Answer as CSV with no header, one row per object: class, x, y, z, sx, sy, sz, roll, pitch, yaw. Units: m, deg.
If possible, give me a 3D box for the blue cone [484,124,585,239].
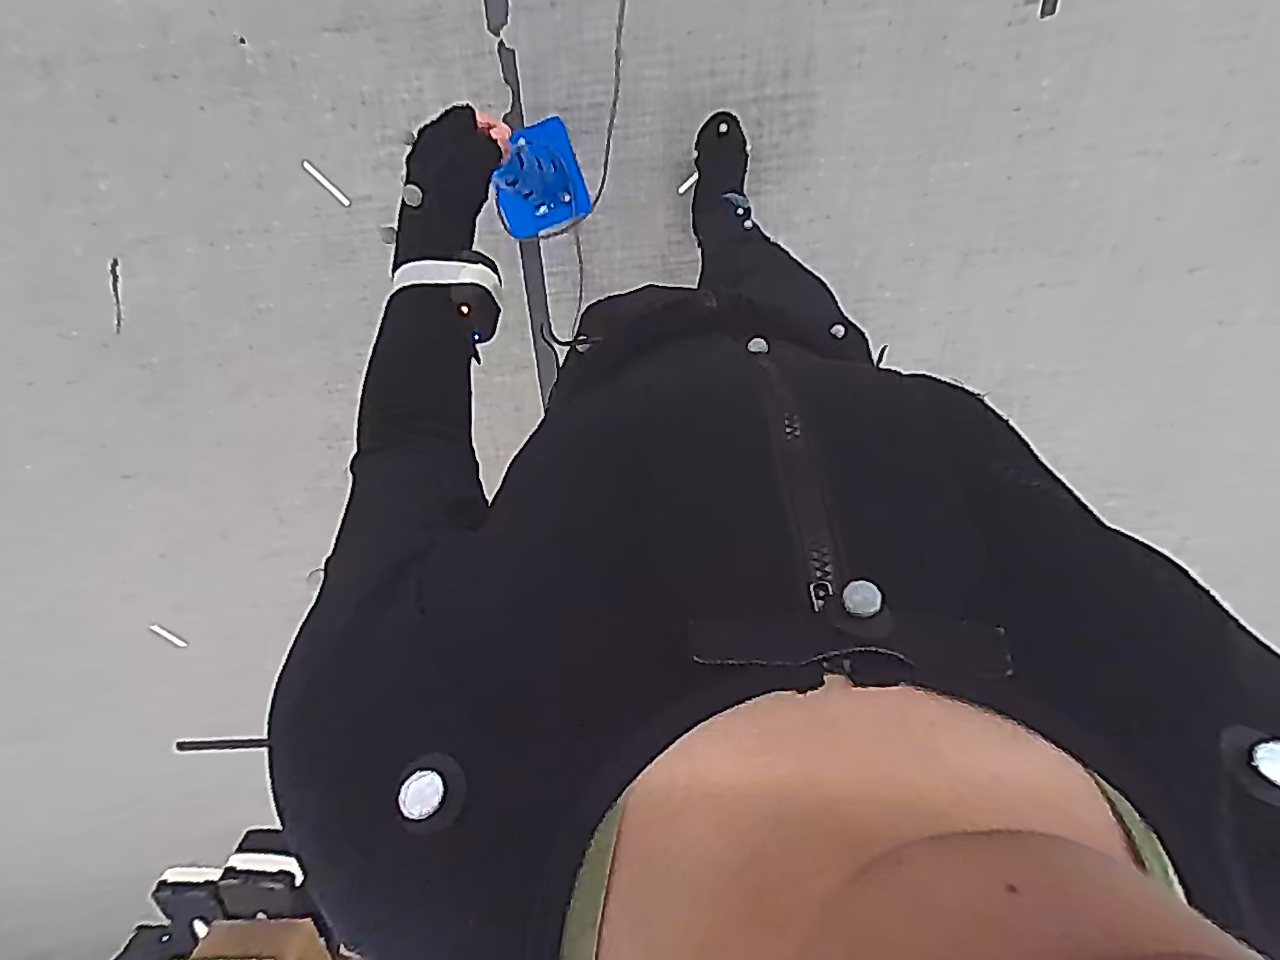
blue cone,-0.236,-0.596,1.051,0.193,0.380,0.192,-19,113,8
